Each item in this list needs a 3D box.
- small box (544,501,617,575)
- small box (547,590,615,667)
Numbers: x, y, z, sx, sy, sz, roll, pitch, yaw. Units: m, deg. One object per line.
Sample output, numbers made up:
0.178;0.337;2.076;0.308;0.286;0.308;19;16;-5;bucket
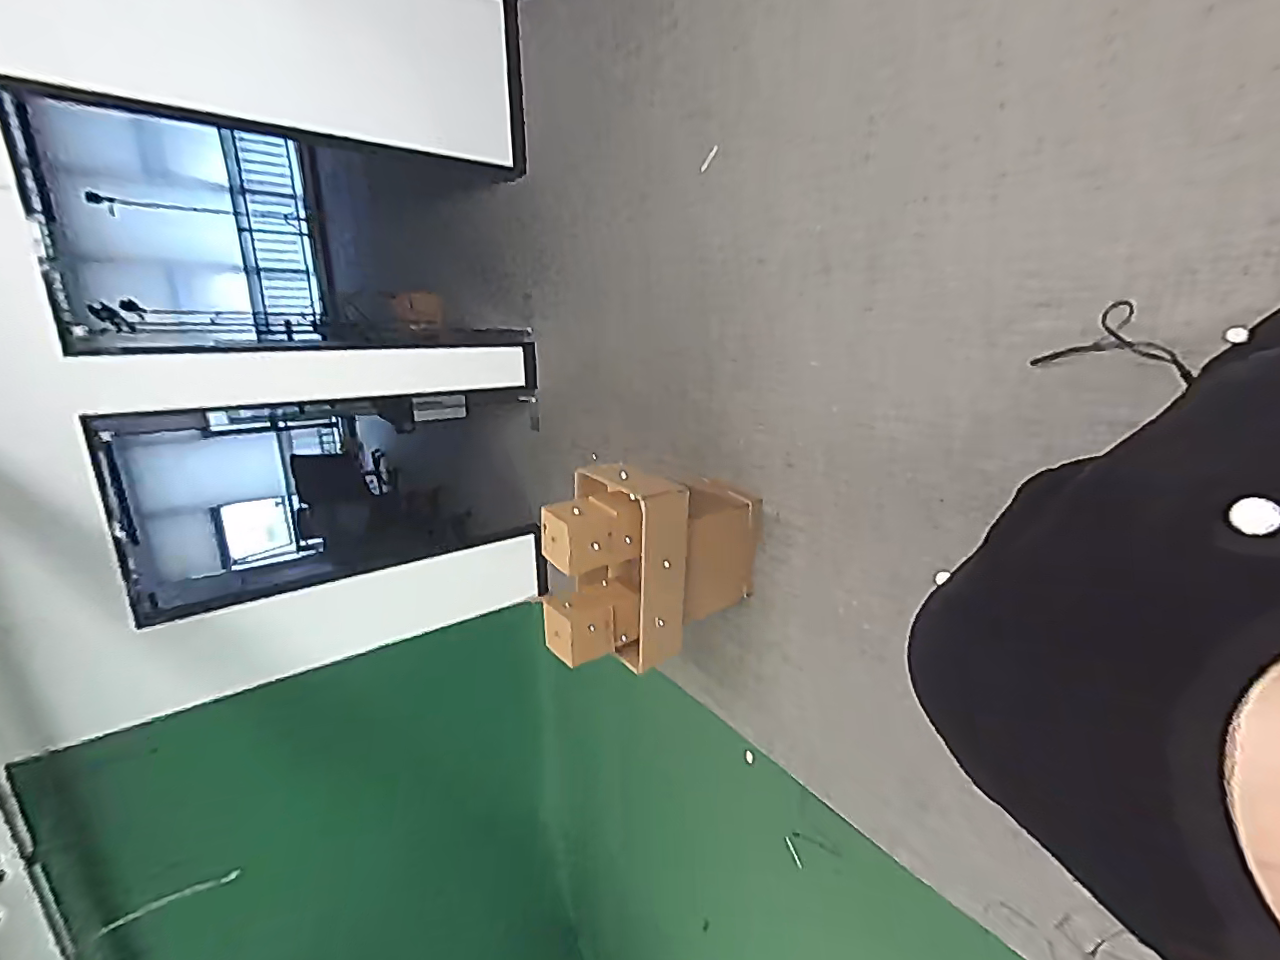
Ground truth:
-0.186;0.174;1.703;0.179;0.176;0.168;25;118;48;small box
-0.192;0.485;1.800;0.179;0.176;0.168;17;112;52;small box
